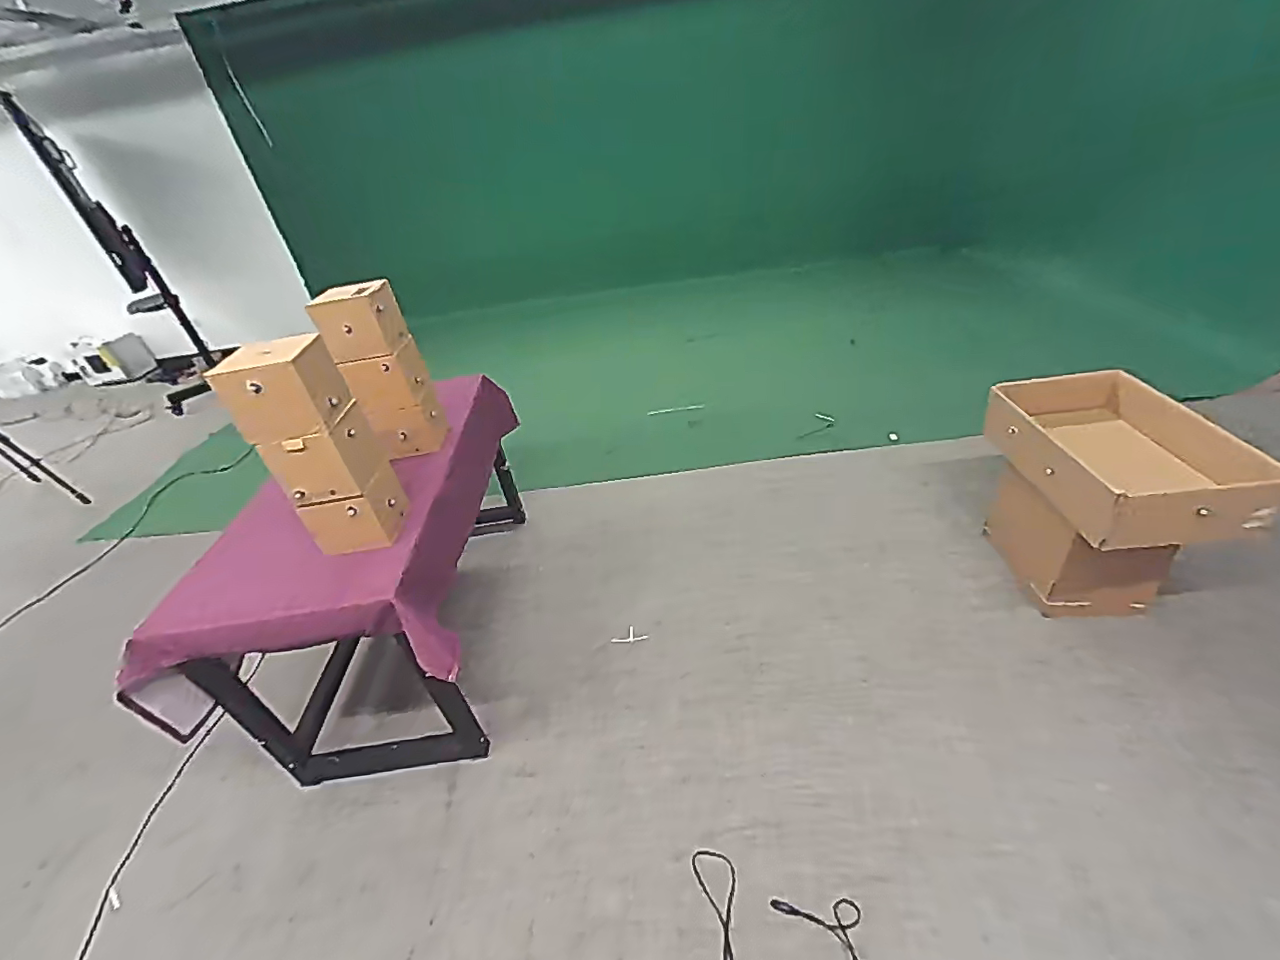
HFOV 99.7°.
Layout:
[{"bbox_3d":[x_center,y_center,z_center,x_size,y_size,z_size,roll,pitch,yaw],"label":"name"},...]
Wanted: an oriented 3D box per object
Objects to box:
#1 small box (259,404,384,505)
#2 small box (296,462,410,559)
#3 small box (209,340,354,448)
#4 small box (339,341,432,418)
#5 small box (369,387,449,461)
[{"bbox_3d":[-0.735,-0.055,1.274,0.168,0.176,0.179,-9,34,1],"label":"small box"},{"bbox_3d":[-0.711,0.079,1.367,0.179,0.176,0.168,-10,34,2],"label":"small box"},{"bbox_3d":[-0.769,-0.185,1.182,0.179,0.176,0.168,-10,35,0],"label":"small box"},{"bbox_3d":[-0.764,-0.302,1.642,0.179,0.176,0.168,-9,34,2],"label":"small box"},{"bbox_3d":[-0.732,-0.173,1.736,0.168,0.176,0.179,-10,35,1],"label":"small box"}]
